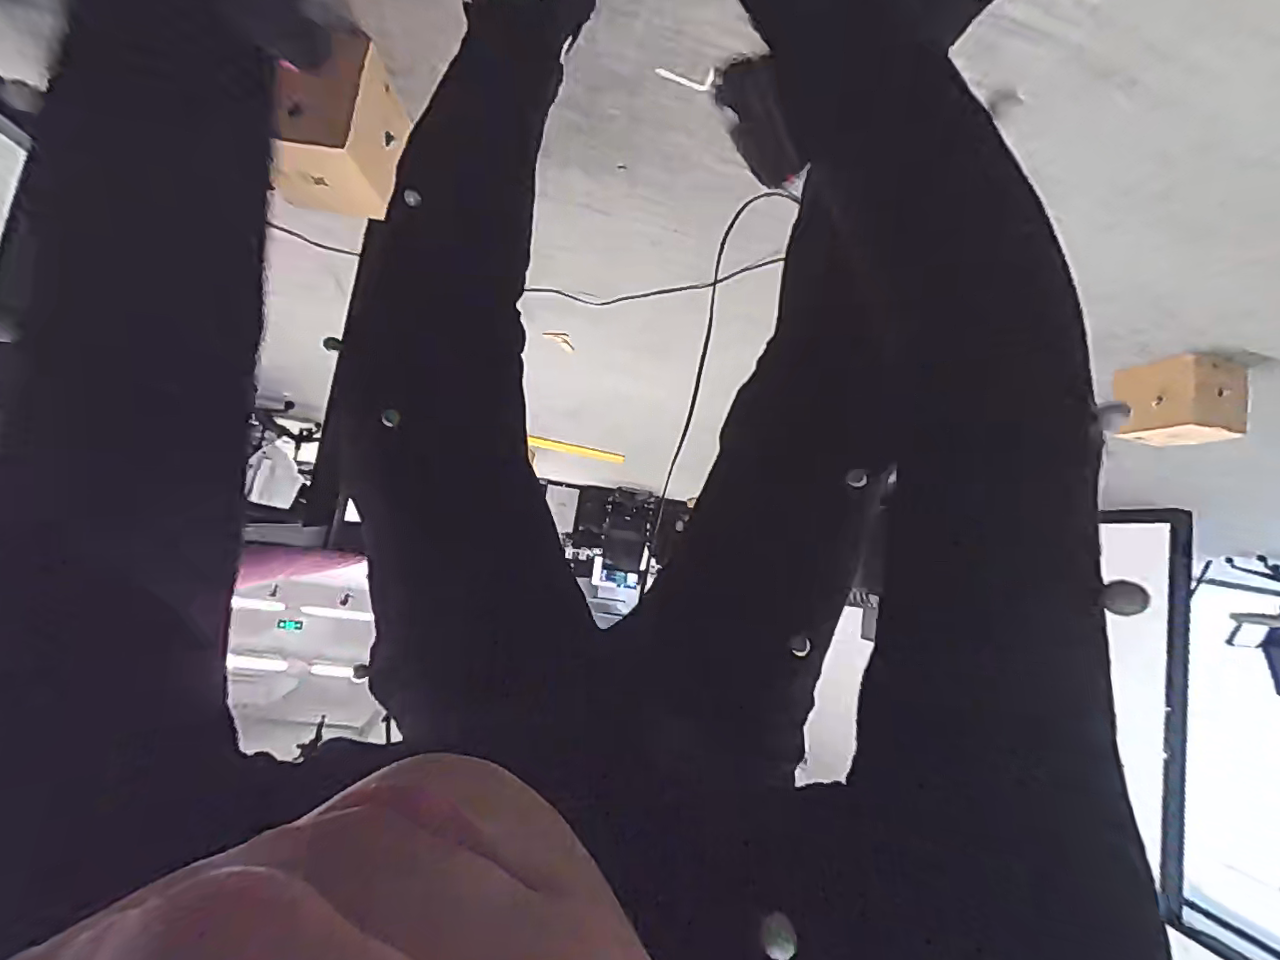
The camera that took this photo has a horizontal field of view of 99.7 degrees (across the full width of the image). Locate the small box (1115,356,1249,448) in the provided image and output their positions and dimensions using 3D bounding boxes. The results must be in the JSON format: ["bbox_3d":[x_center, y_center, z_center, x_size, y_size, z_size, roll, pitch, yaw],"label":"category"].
[{"bbox_3d":[1.294,-0.185,1.300,0.168,0.176,0.179,10,172,-11],"label":"small box"}]

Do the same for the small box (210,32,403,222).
[{"bbox_3d":[-0.460,-0.508,0.780,0.179,0.176,0.168,9,173,-2],"label":"small box"}]
